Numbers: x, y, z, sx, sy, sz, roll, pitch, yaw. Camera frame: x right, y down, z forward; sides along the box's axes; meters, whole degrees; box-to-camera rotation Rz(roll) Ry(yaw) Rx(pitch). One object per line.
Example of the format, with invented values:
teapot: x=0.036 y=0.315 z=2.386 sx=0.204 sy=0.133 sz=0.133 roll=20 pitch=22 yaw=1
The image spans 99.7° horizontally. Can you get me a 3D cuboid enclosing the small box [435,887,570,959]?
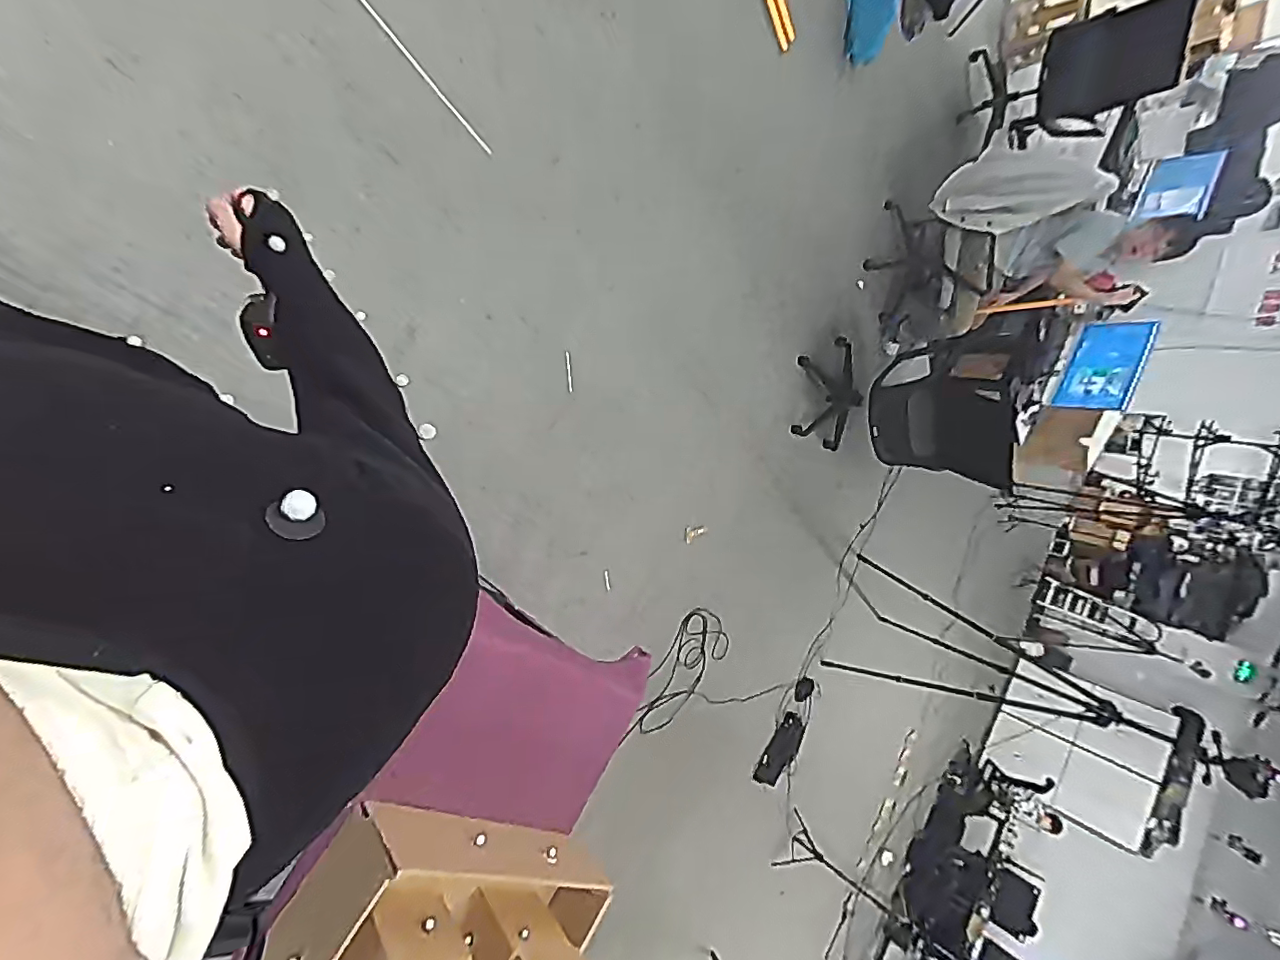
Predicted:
small box: x=-0.285 y=0.985 z=1.118 sx=0.179 sy=0.176 sz=0.168 roll=41 pitch=75 yaw=-39

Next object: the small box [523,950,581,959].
small box: x=-0.175 y=1.023 z=1.001 sx=0.179 sy=0.176 sz=0.168 roll=41 pitch=75 yaw=-41
